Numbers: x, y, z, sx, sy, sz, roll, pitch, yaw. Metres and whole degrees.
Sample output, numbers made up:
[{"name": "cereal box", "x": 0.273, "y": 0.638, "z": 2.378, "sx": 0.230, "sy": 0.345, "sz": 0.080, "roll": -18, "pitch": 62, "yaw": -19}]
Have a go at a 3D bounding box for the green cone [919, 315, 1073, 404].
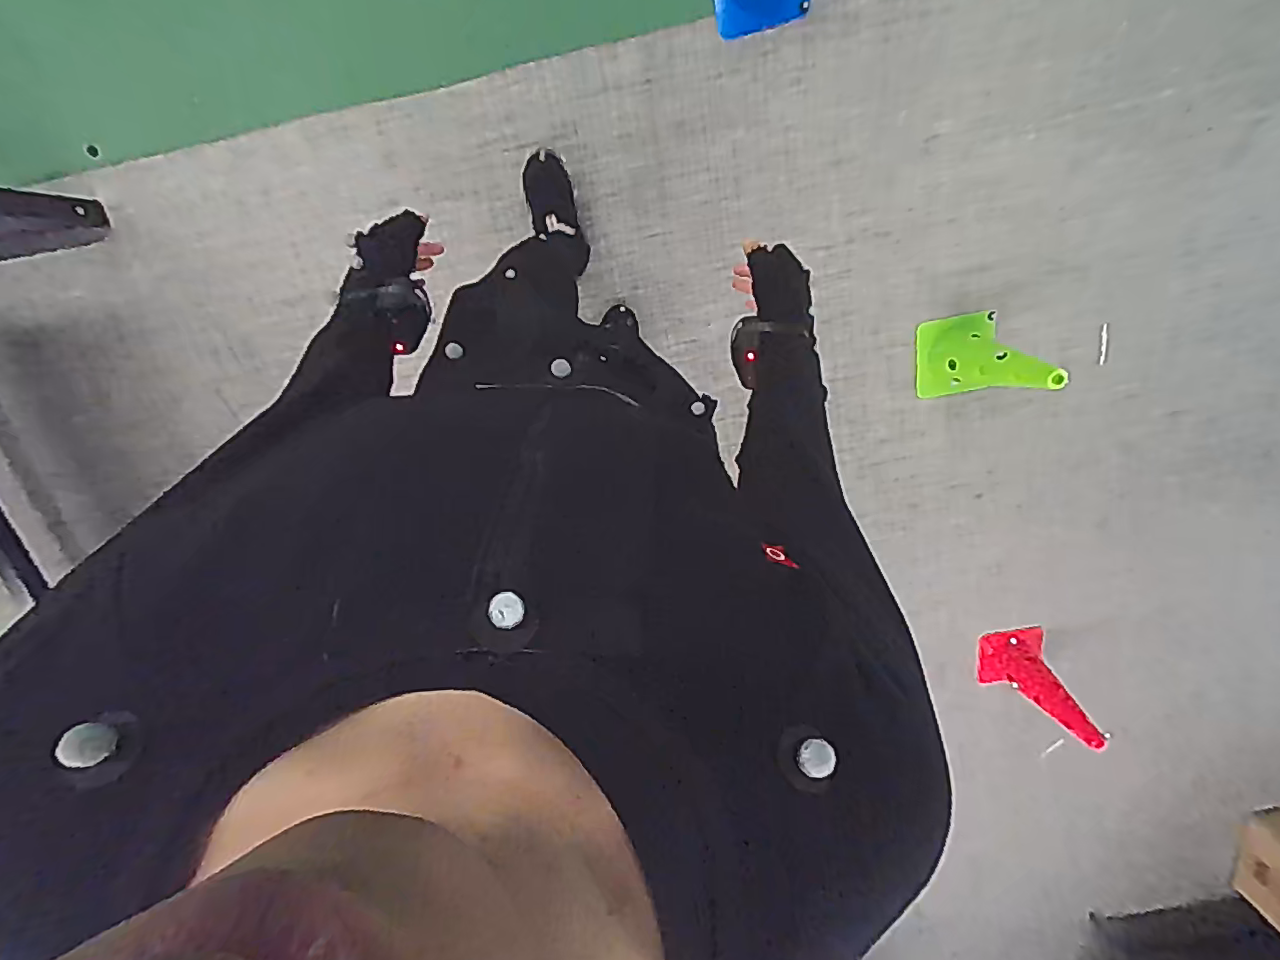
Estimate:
[{"name": "green cone", "x": 0.824, "y": -0.246, "z": 1.231, "sx": 0.200, "sy": 0.368, "sz": 0.202, "roll": -12, "pitch": 111, "yaw": 3}]
